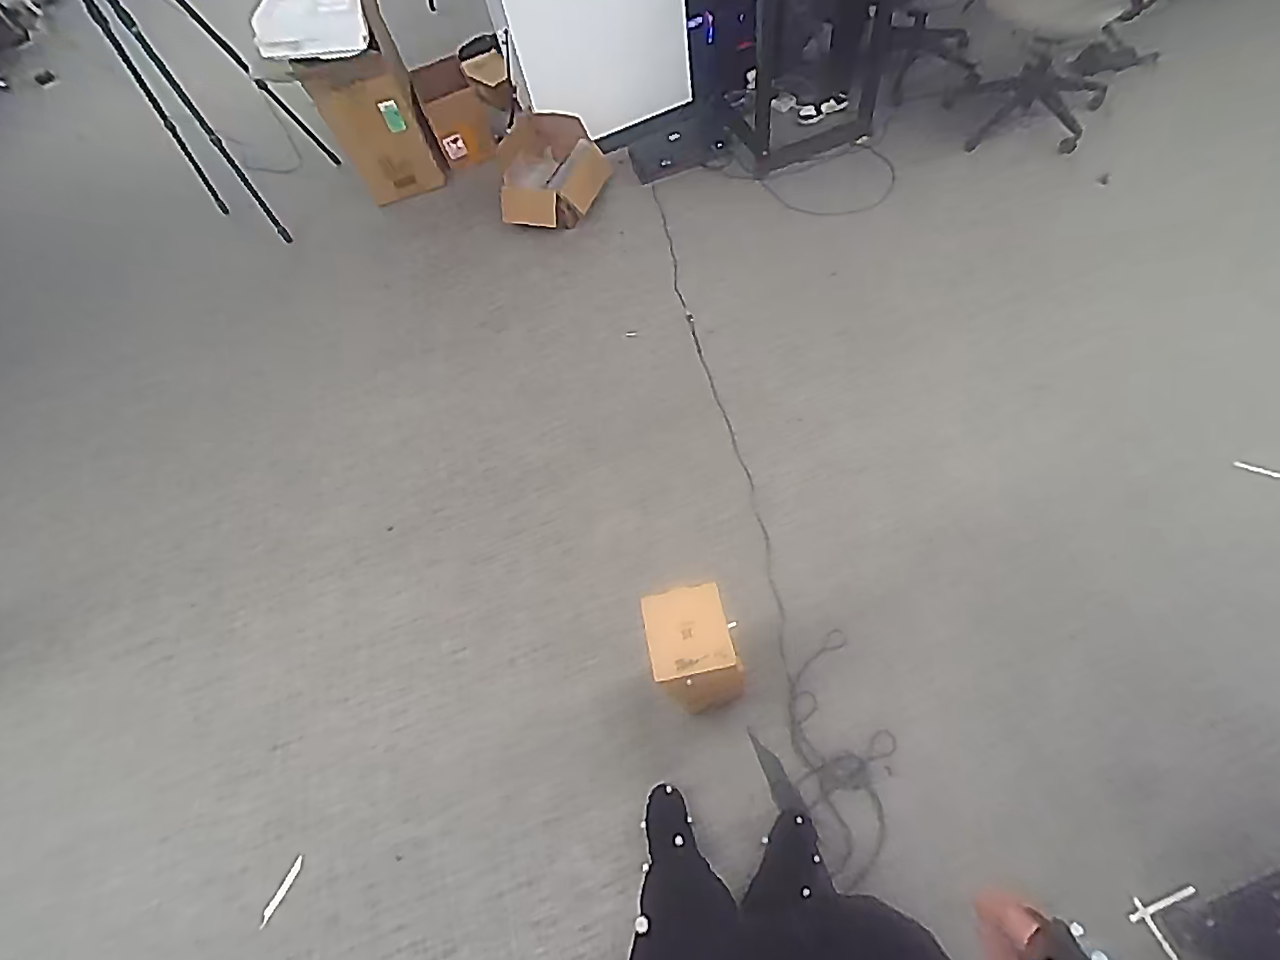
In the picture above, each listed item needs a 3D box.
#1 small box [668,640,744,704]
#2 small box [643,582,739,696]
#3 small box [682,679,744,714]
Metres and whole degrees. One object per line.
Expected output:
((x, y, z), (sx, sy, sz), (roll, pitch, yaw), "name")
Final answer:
((0.140, 0.421, 1.296), (0.179, 0.176, 0.168), (-20, 59, 0), "small box")
((0.110, 0.343, 1.155), (0.168, 0.176, 0.179), (-14, 58, 4), "small box")
((0.167, 0.500, 1.435), (0.168, 0.176, 0.179), (-22, 59, -1), "small box")
